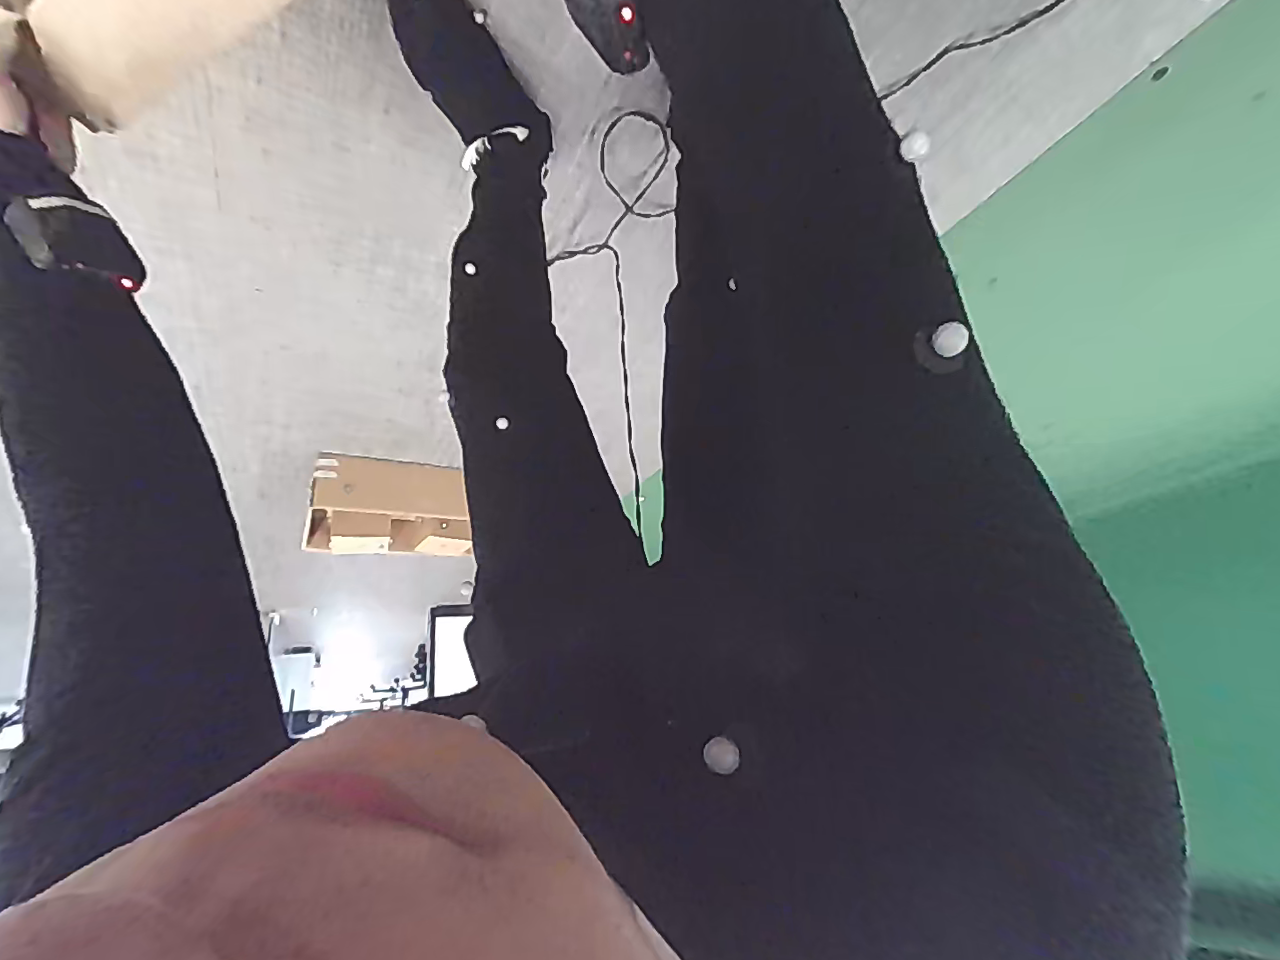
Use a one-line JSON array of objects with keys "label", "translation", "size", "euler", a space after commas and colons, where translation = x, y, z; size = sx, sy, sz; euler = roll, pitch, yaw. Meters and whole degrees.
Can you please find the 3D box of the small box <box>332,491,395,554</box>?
[{"label": "small box", "translation": [-0.944, 0.146, 1.849], "size": [0.179, 0.176, 0.168], "euler": [4, 152, -27]}]
